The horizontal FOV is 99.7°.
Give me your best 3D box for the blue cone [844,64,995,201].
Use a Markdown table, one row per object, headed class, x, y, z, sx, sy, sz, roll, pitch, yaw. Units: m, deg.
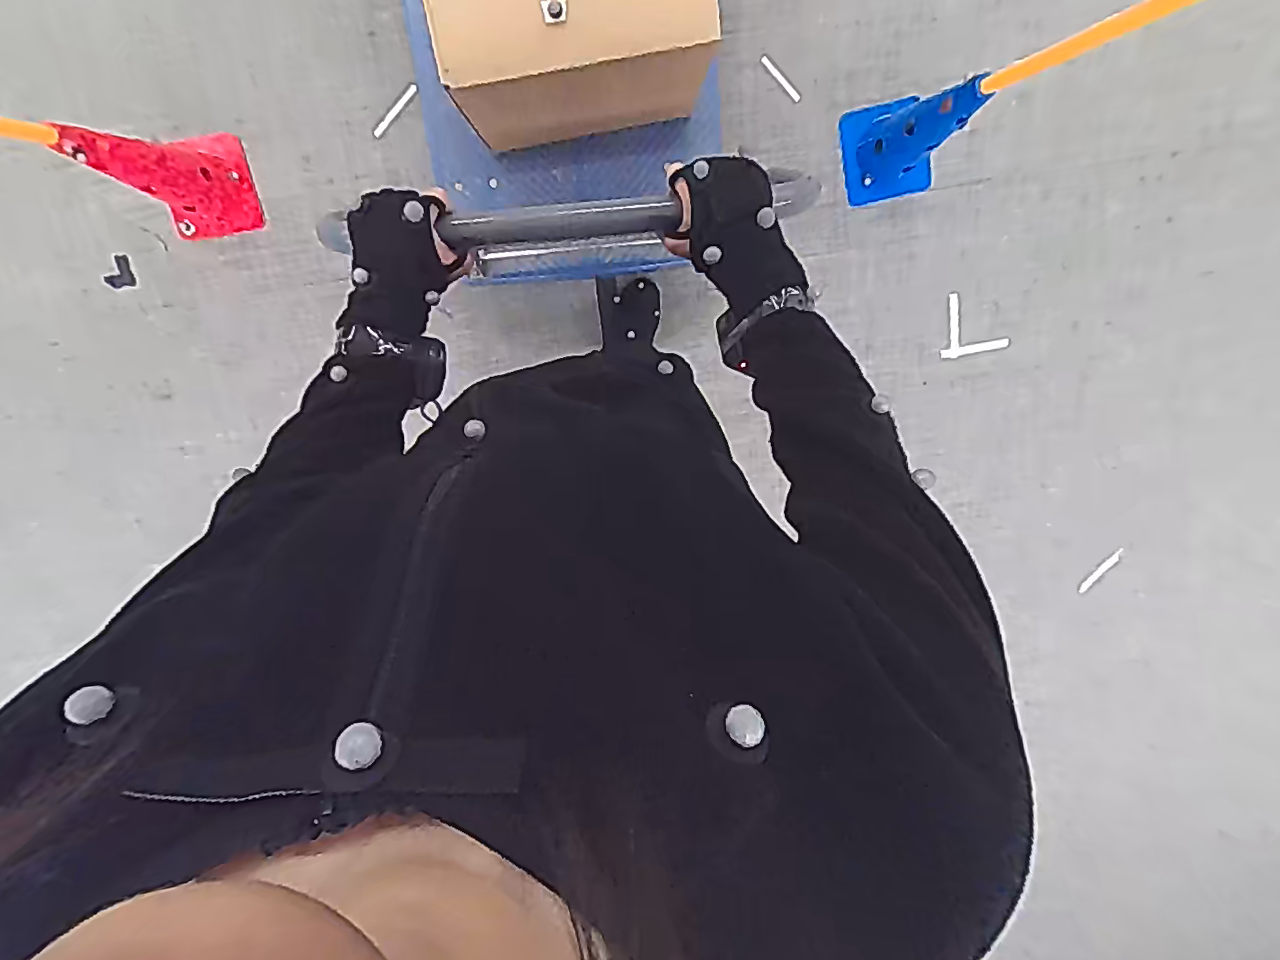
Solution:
| class | x | y | z | sx | sy | sz | roll | pitch | yaw |
| --- | --- | --- | --- | --- | --- | --- | --- | --- | --- |
| blue cone | 0.580 | -0.718 | 1.094 | 0.193 | 0.380 | 0.192 | -12 | 105 | 1 |
